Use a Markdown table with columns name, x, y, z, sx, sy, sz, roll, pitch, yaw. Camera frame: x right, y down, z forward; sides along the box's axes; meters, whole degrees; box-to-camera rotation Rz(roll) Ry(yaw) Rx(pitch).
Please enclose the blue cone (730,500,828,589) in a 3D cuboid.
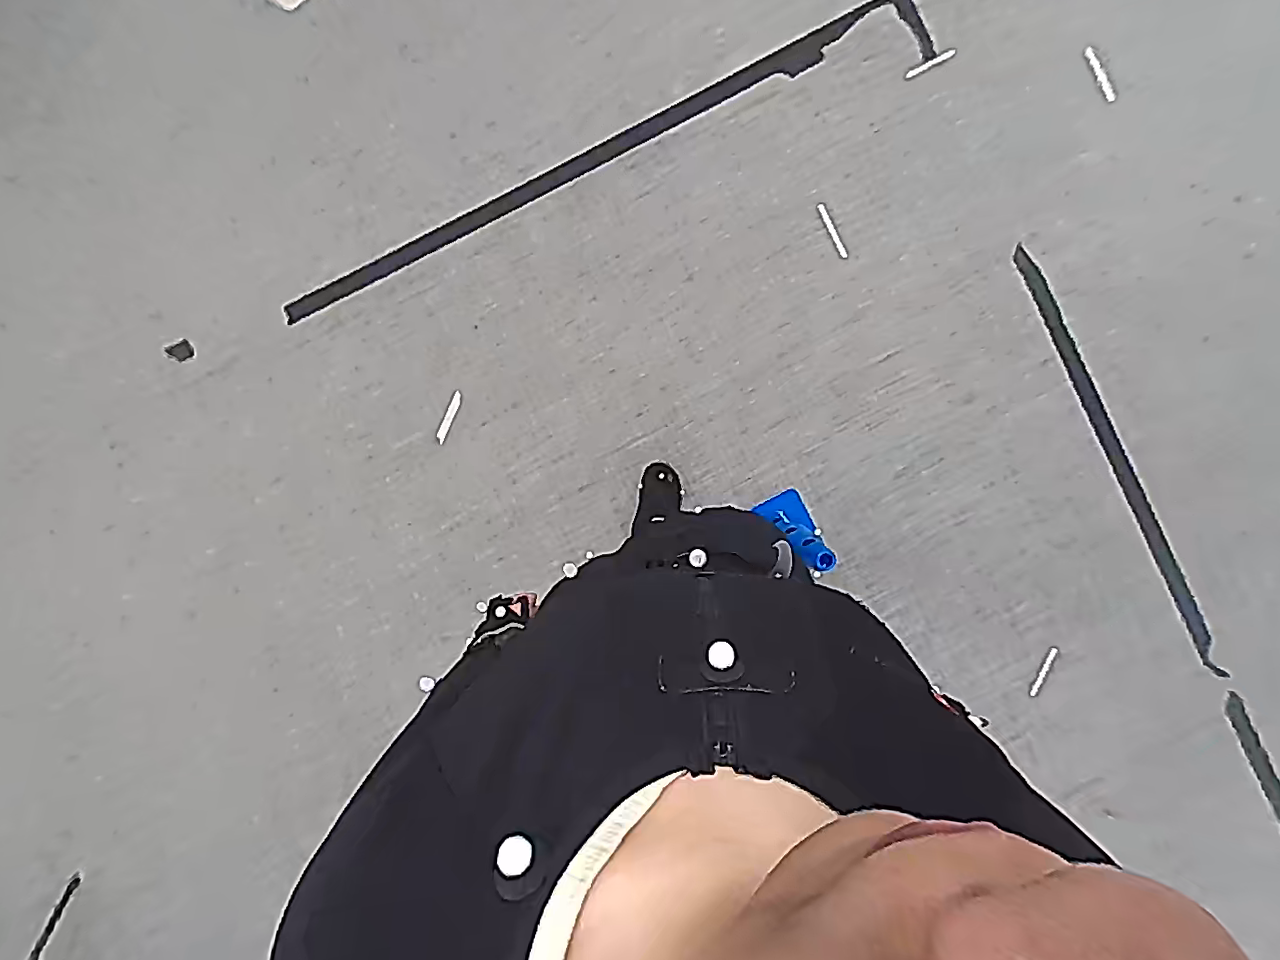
| name | x | y | z | sx | sy | sz | roll | pitch | yaw |
| --- | --- | --- | --- | --- | --- | --- | --- | --- | --- |
| blue cone | 0.345 | 0.165 | 1.203 | 0.192 | 0.380 | 0.193 | -26 | 91 | 1 |
